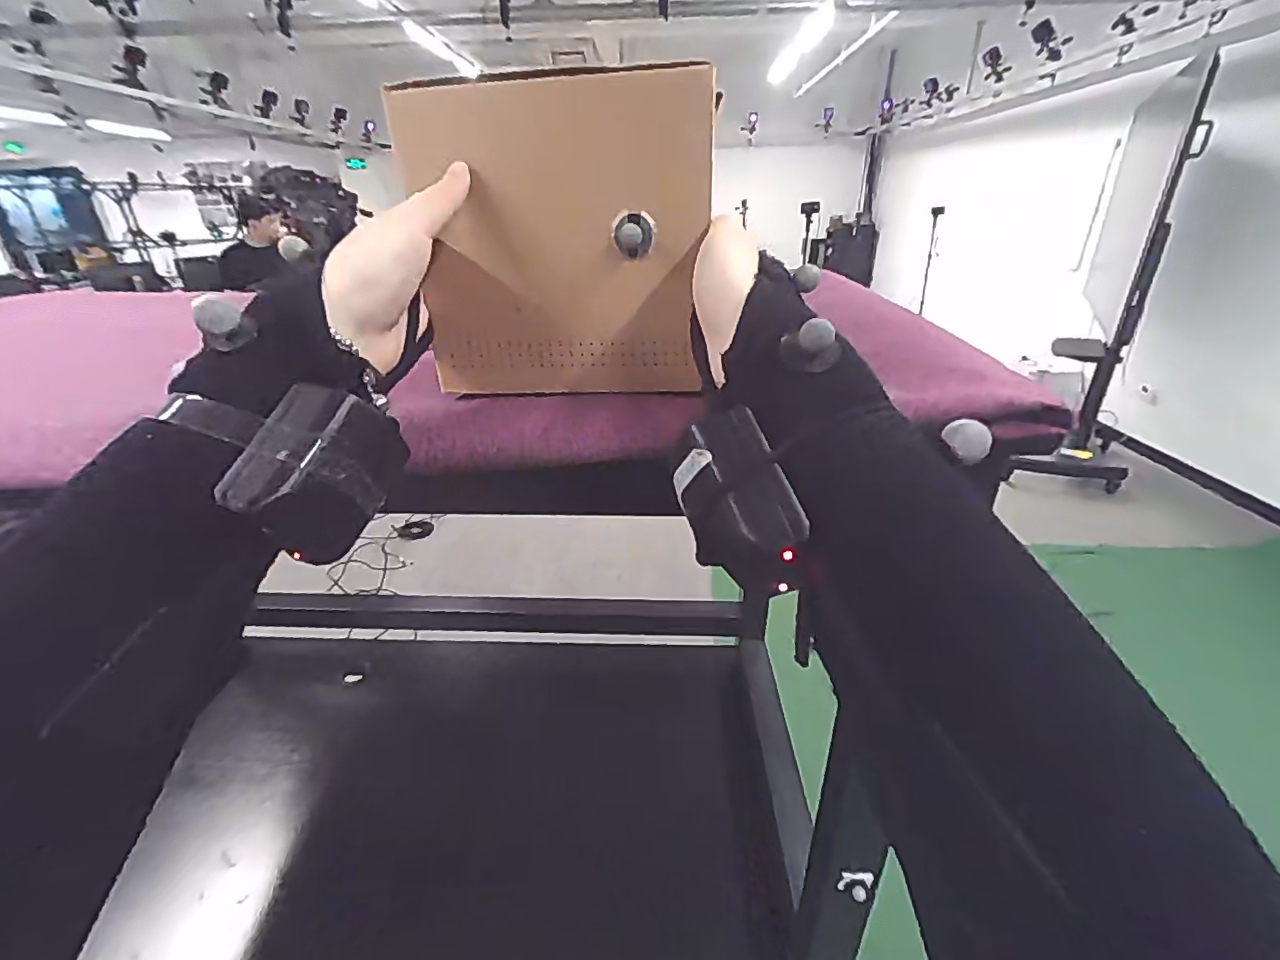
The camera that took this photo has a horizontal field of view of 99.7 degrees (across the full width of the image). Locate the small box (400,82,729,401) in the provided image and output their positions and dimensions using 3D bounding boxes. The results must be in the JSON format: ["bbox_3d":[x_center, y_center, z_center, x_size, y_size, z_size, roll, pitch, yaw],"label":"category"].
[{"bbox_3d":[-0.032,-0.157,0.383,0.179,0.176,0.168,0,24,6],"label":"small box"}]
